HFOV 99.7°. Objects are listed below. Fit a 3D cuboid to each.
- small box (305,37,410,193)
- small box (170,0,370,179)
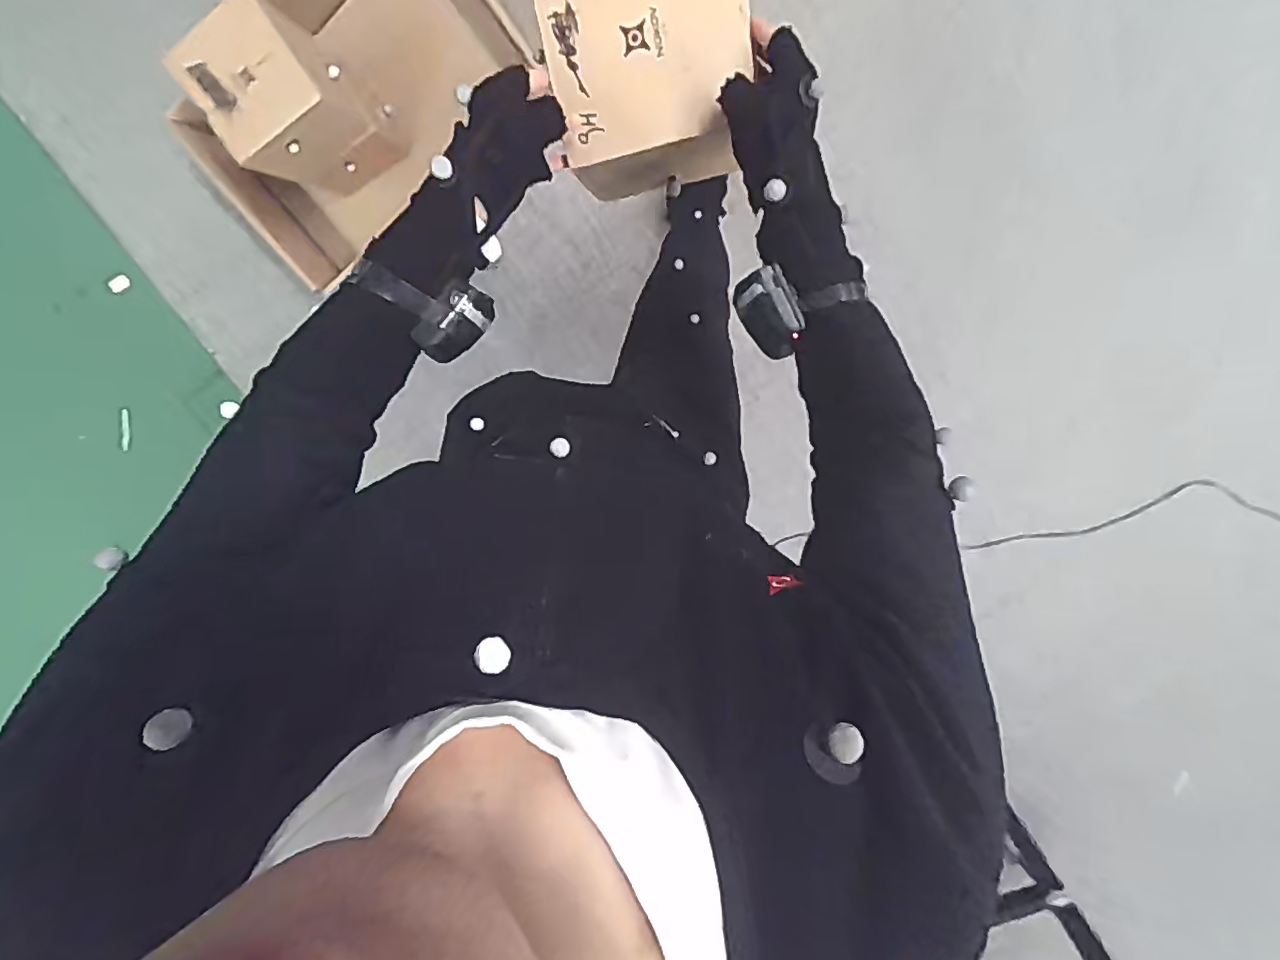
[{"bbox_3d":[-0.587,-0.689,1.048,0.179,0.176,0.168,-29,108,9],"label":"small box"},{"bbox_3d":[-0.593,-0.632,0.894,0.179,0.176,0.168,-30,107,10],"label":"small box"}]
